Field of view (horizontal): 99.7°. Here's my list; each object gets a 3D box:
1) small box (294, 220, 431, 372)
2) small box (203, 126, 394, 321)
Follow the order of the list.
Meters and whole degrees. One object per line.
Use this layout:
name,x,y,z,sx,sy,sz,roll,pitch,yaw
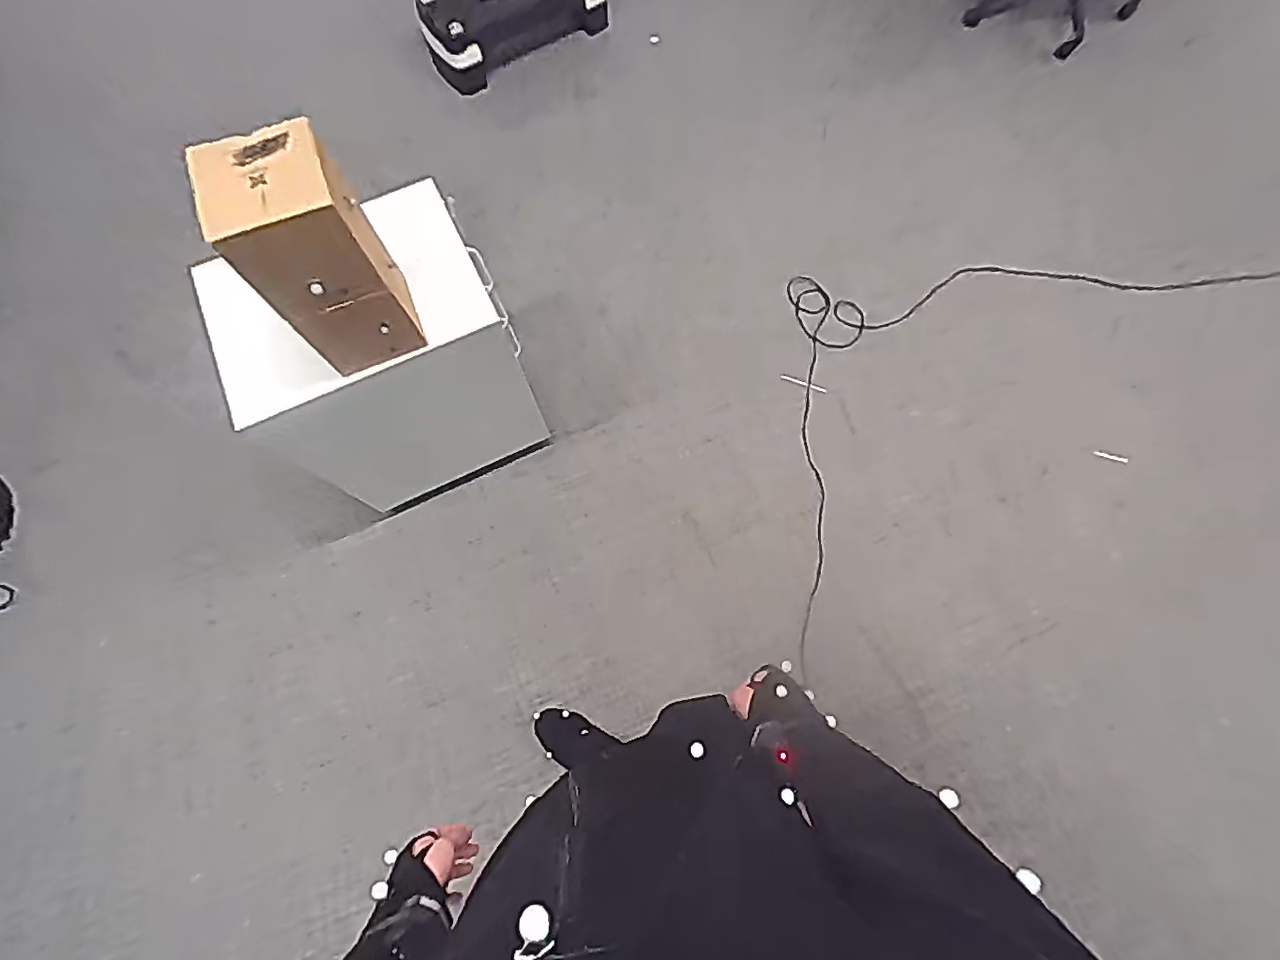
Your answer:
small box,-0.494,-0.315,0.958,0.168,0.176,0.179,-22,70,-8
small box,-0.496,-0.373,0.804,0.168,0.176,0.179,-22,72,-7
